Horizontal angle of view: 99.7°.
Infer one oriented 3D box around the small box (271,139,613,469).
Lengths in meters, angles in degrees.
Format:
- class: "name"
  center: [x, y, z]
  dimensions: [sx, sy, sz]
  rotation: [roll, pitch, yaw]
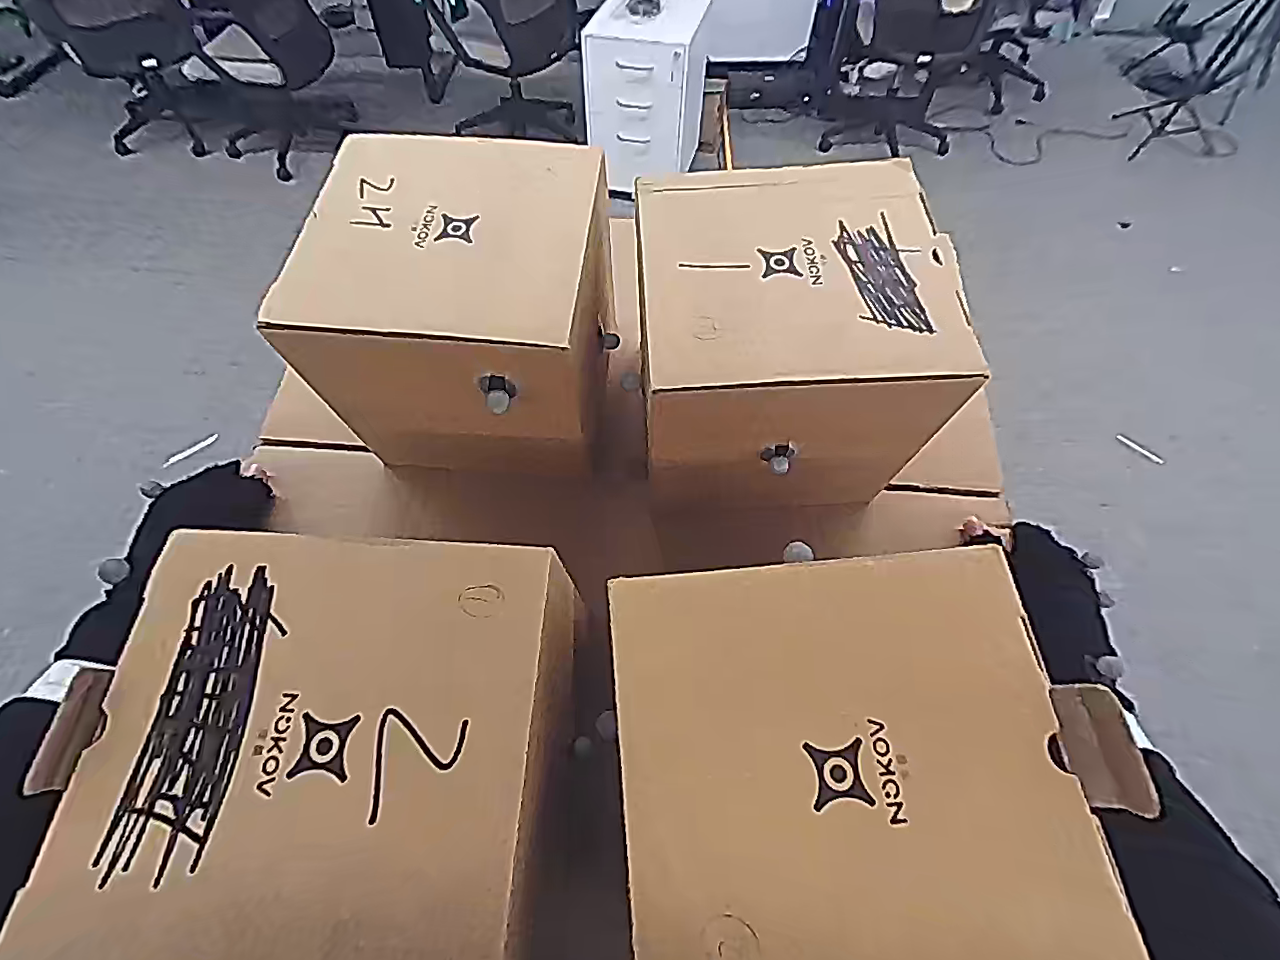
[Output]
- class: "small box"
  center: [-0.117, -0.120, 0.411]
  dimensions: [0.179, 0.176, 0.168]
  rotation: [5, 64, 3]
